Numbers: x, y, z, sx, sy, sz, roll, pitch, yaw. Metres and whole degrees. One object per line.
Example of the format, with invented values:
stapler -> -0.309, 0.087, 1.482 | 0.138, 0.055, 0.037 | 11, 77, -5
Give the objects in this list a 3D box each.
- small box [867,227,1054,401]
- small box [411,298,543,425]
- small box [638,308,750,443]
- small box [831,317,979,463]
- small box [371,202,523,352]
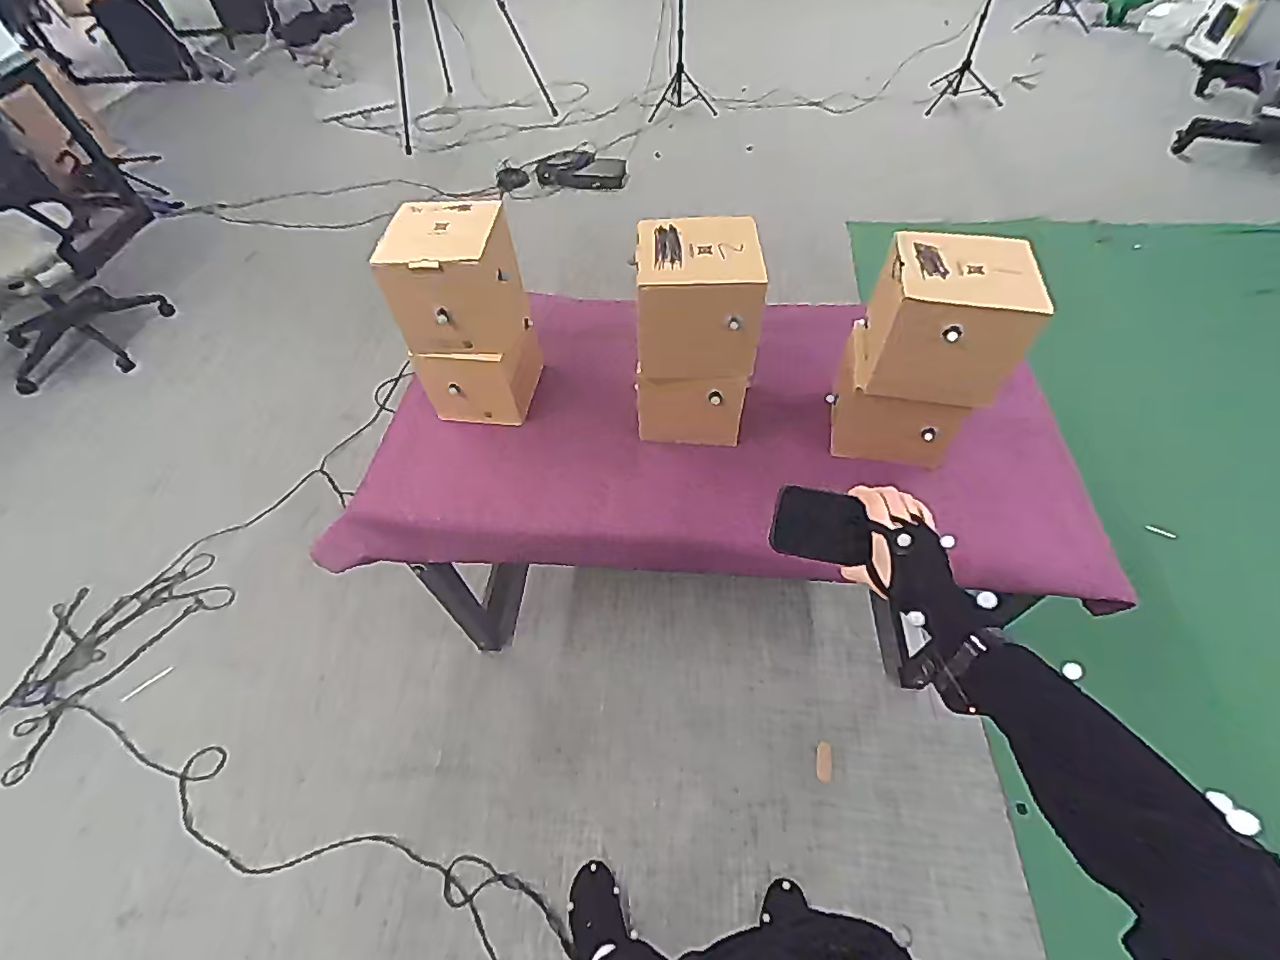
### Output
small box -> 0.429, -0.231, 0.764 | 0.179, 0.176, 0.168 | 9, 54, 9
small box -> -0.289, -0.219, 1.007 | 0.168, 0.176, 0.179 | 4, 54, 7
small box -> 0.096, -0.180, 0.950 | 0.179, 0.176, 0.168 | 3, 54, 7
small box -> 0.432, -0.146, 0.906 | 0.179, 0.176, 0.168 | 8, 55, 11
small box -> -0.297, -0.324, 0.880 | 0.168, 0.176, 0.179 | 0, 54, 3
